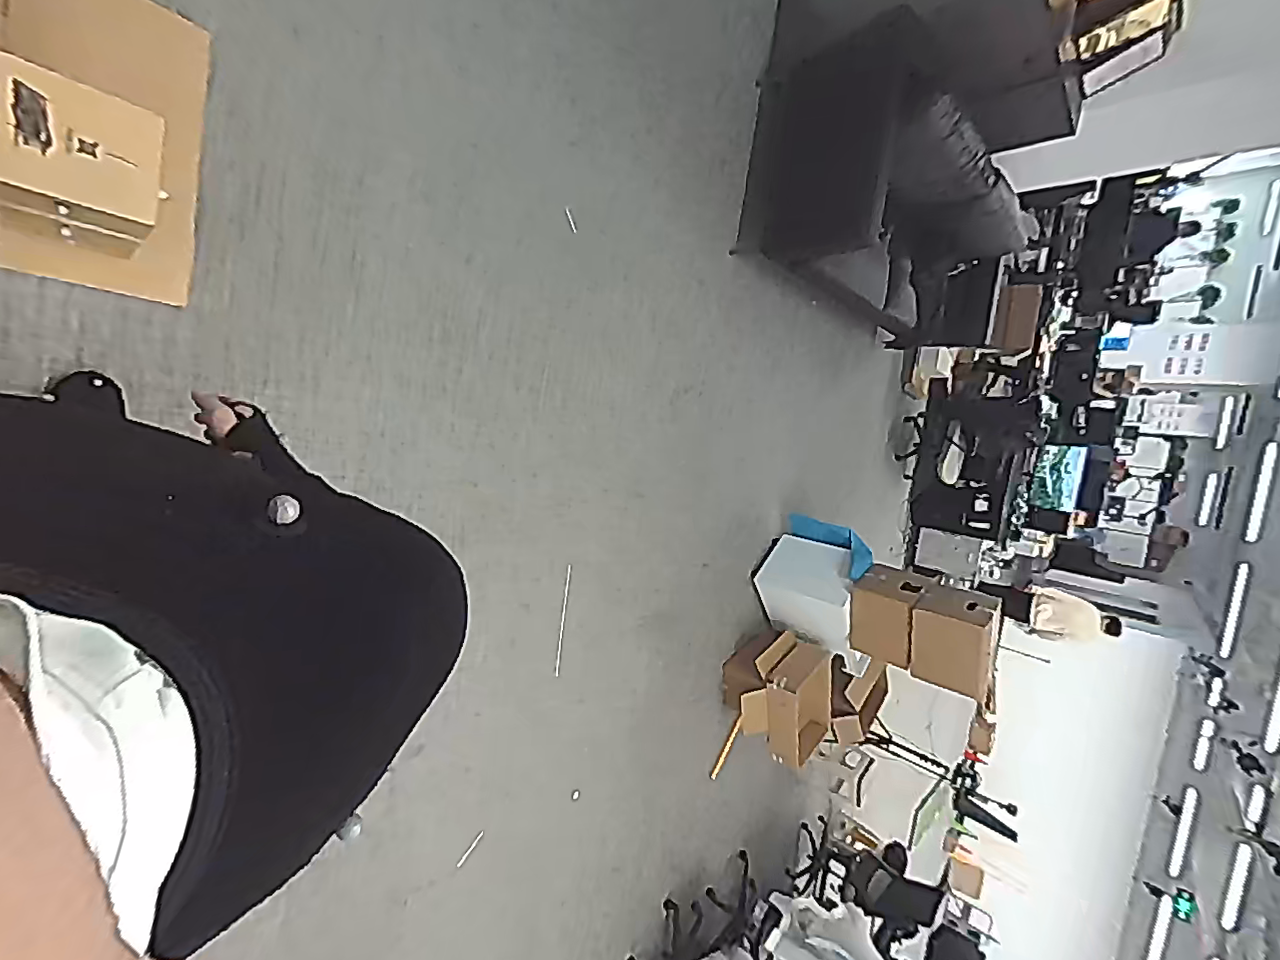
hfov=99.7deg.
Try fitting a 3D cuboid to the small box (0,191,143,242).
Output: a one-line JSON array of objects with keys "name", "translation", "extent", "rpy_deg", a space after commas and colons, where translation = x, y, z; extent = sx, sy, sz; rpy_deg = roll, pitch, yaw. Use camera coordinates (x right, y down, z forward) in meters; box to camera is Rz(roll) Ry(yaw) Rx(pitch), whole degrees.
[{"name": "small box", "translation": [-0.973, -0.523, 0.926], "extent": [0.179, 0.176, 0.168], "rpy_deg": [4, 98, -46]}]

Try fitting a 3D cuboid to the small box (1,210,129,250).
[{"name": "small box", "translation": [-1.089, -0.556, 1.034], "extent": [0.179, 0.176, 0.168], "rpy_deg": [5, 96, -47]}]

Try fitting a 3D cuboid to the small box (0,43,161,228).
[{"name": "small box", "translation": [-0.853, -0.499, 0.815], "extent": [0.179, 0.176, 0.168], "rpy_deg": [4, 97, -47]}]
